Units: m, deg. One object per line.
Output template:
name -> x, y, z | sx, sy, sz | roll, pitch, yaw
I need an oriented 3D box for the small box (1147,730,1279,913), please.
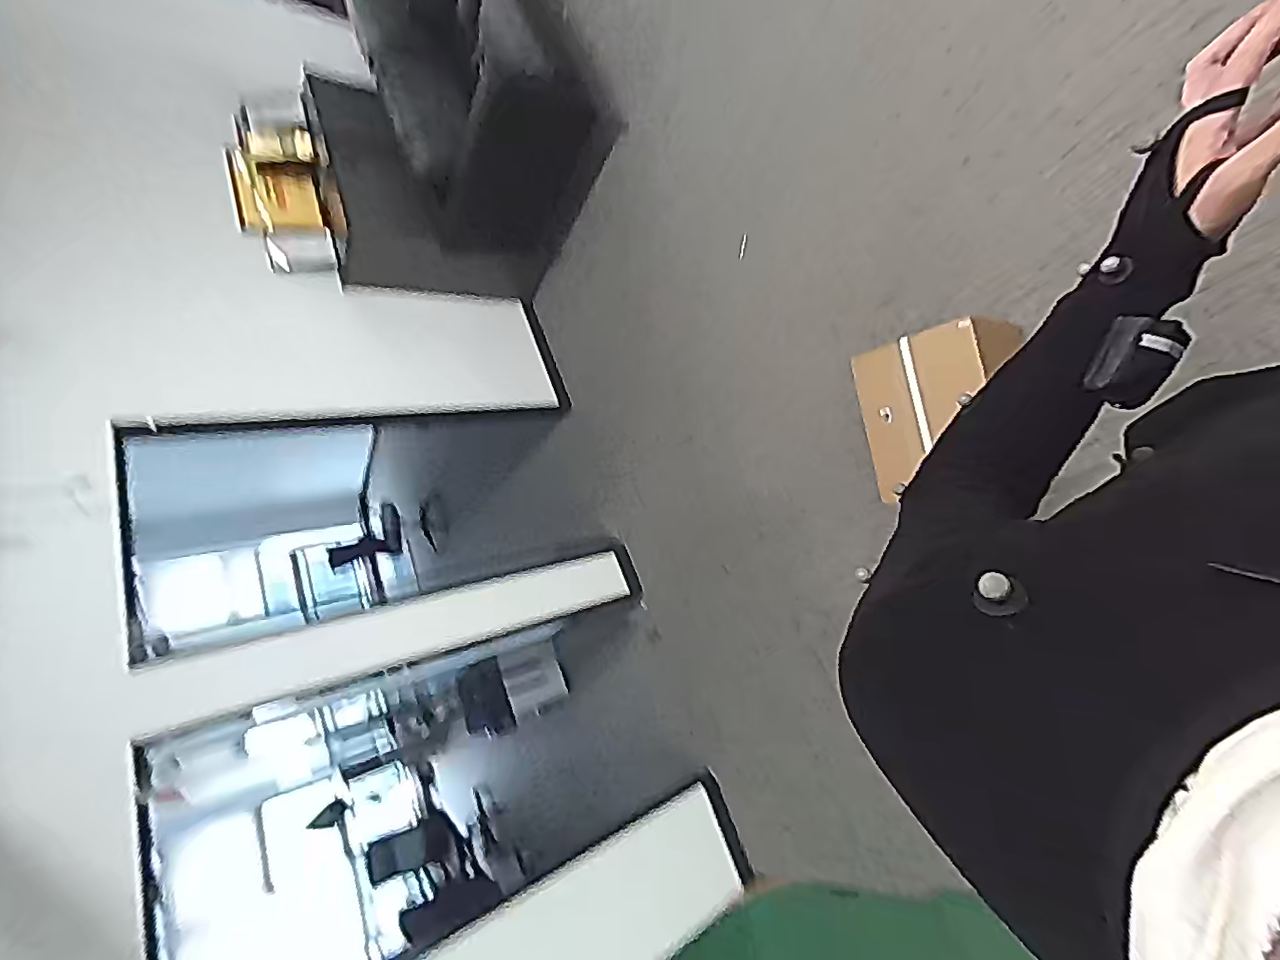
small box -> 1.012, 0.548, 0.898 | 0.179, 0.176, 0.168 | 39, 125, 42
